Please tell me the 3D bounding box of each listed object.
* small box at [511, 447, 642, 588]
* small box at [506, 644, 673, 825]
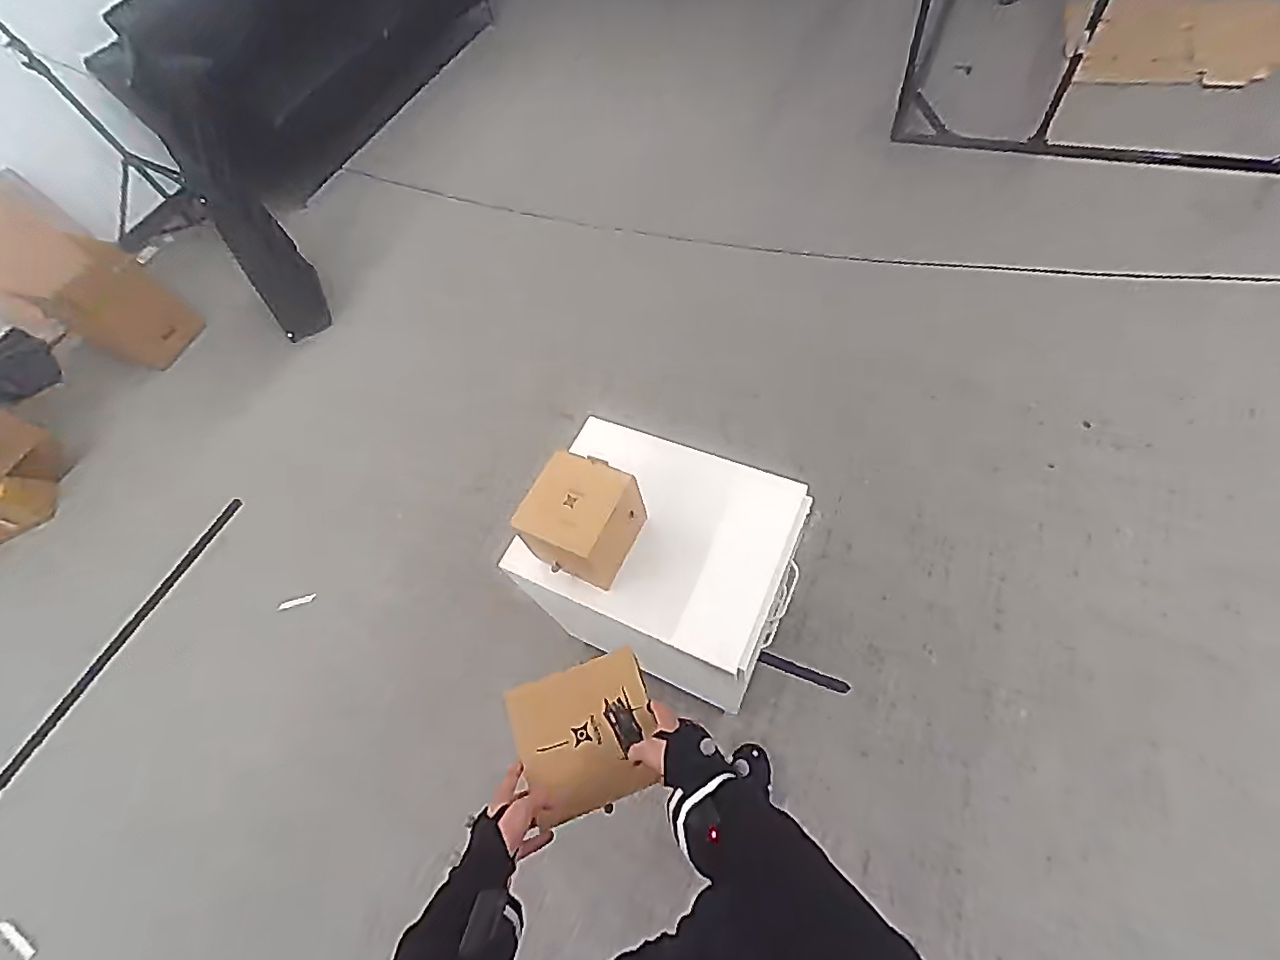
[{"bbox_3d":[-0.107,0.074,1.014,0.168,0.176,0.179,21,65,21],"label":"small box"},{"bbox_3d":[-0.068,0.343,0.749,0.179,0.176,0.168,-18,66,-9],"label":"small box"}]
